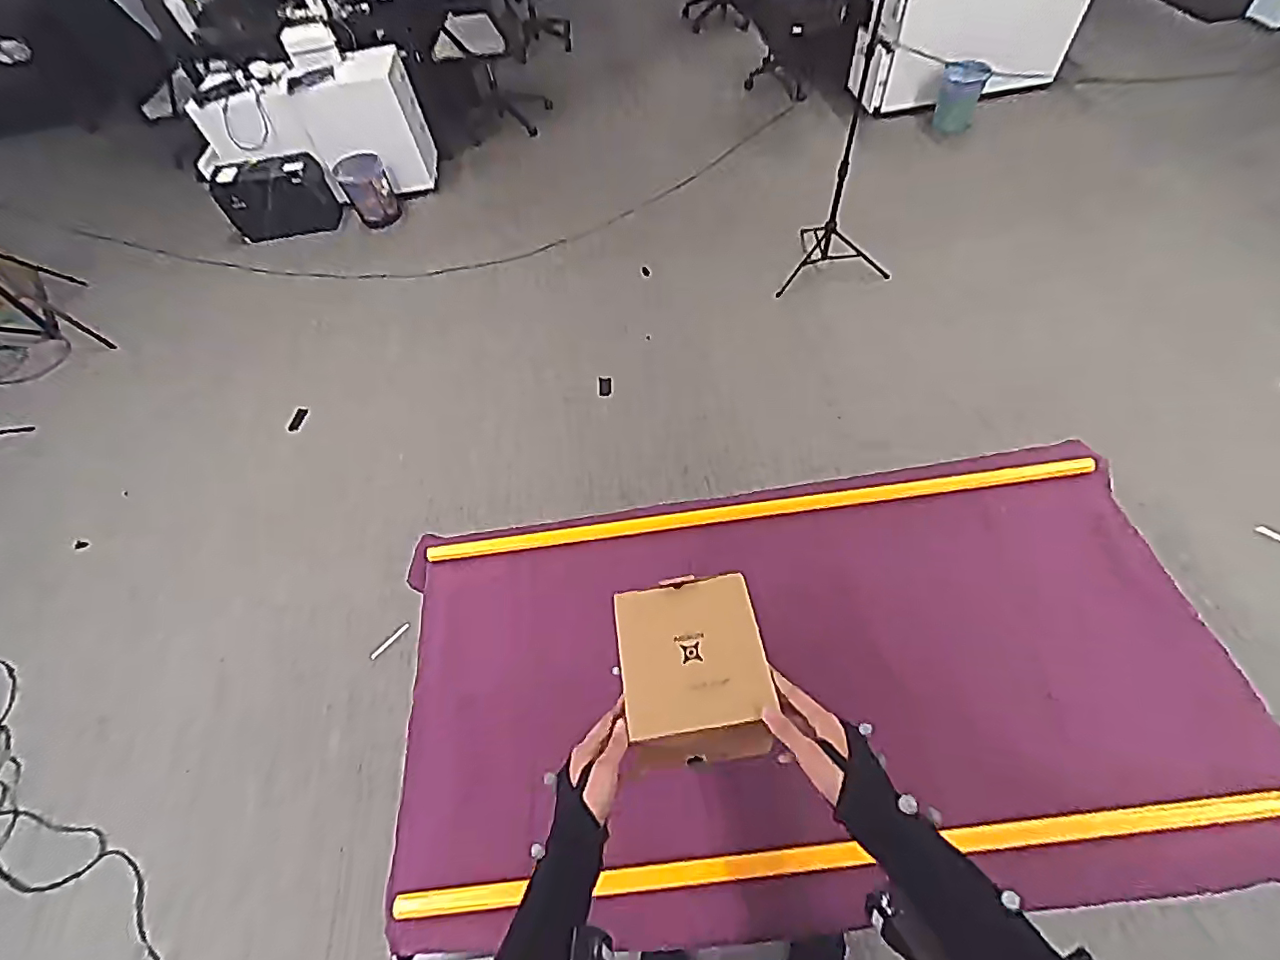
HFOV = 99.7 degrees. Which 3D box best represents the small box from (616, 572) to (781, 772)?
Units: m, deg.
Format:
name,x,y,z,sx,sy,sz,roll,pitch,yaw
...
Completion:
name,x,y,z,sx,sy,sz,roll,pitch,yaw
small box,0.067,0.244,0.682,0.168,0.176,0.179,-10,50,0
